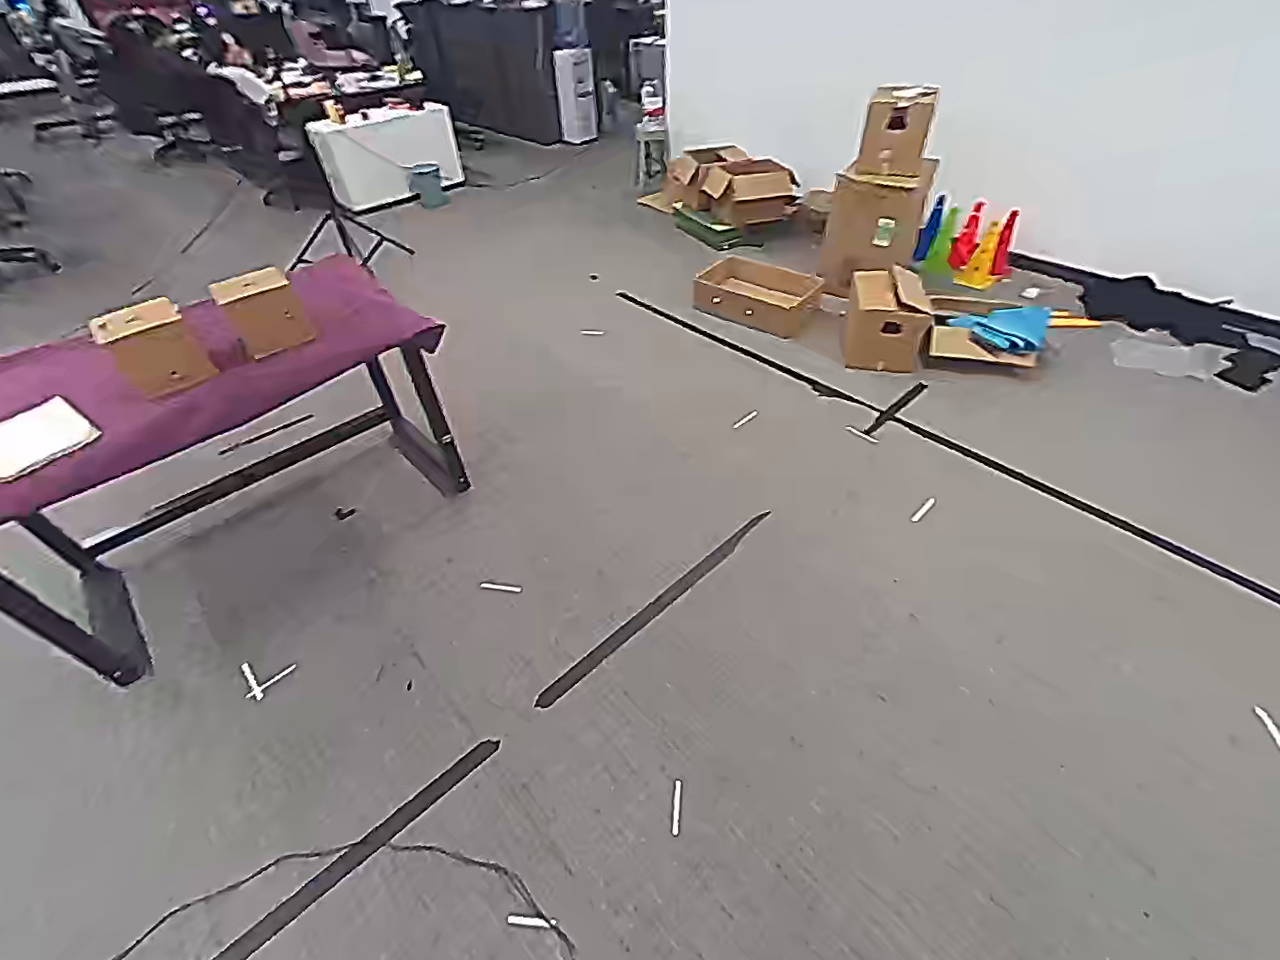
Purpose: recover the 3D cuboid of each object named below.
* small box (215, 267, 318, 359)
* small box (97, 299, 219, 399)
[{"bbox_3d":[-1.047,-0.472,1.530,0.179,0.176,0.168,-33,50,-25],"label":"small box"},{"bbox_3d":[-1.240,-0.340,1.404,0.179,0.176,0.168,-34,52,-29],"label":"small box"}]
